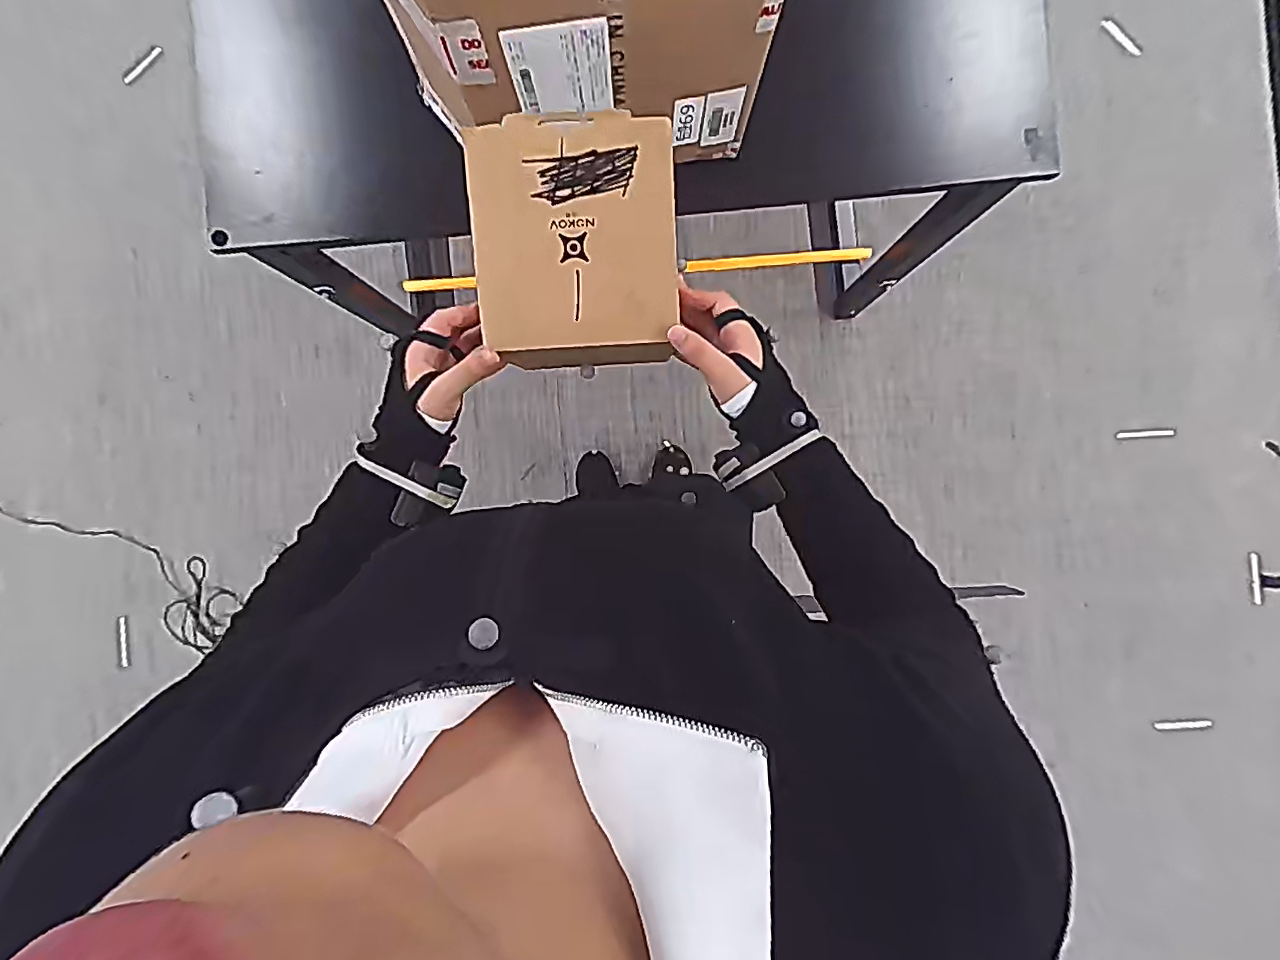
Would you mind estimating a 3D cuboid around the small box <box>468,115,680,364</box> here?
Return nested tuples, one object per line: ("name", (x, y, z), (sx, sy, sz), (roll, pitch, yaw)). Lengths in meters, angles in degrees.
("small box", (-0.053, -0.208, 0.512), (0.168, 0.176, 0.179), (-3, 98, 0))
